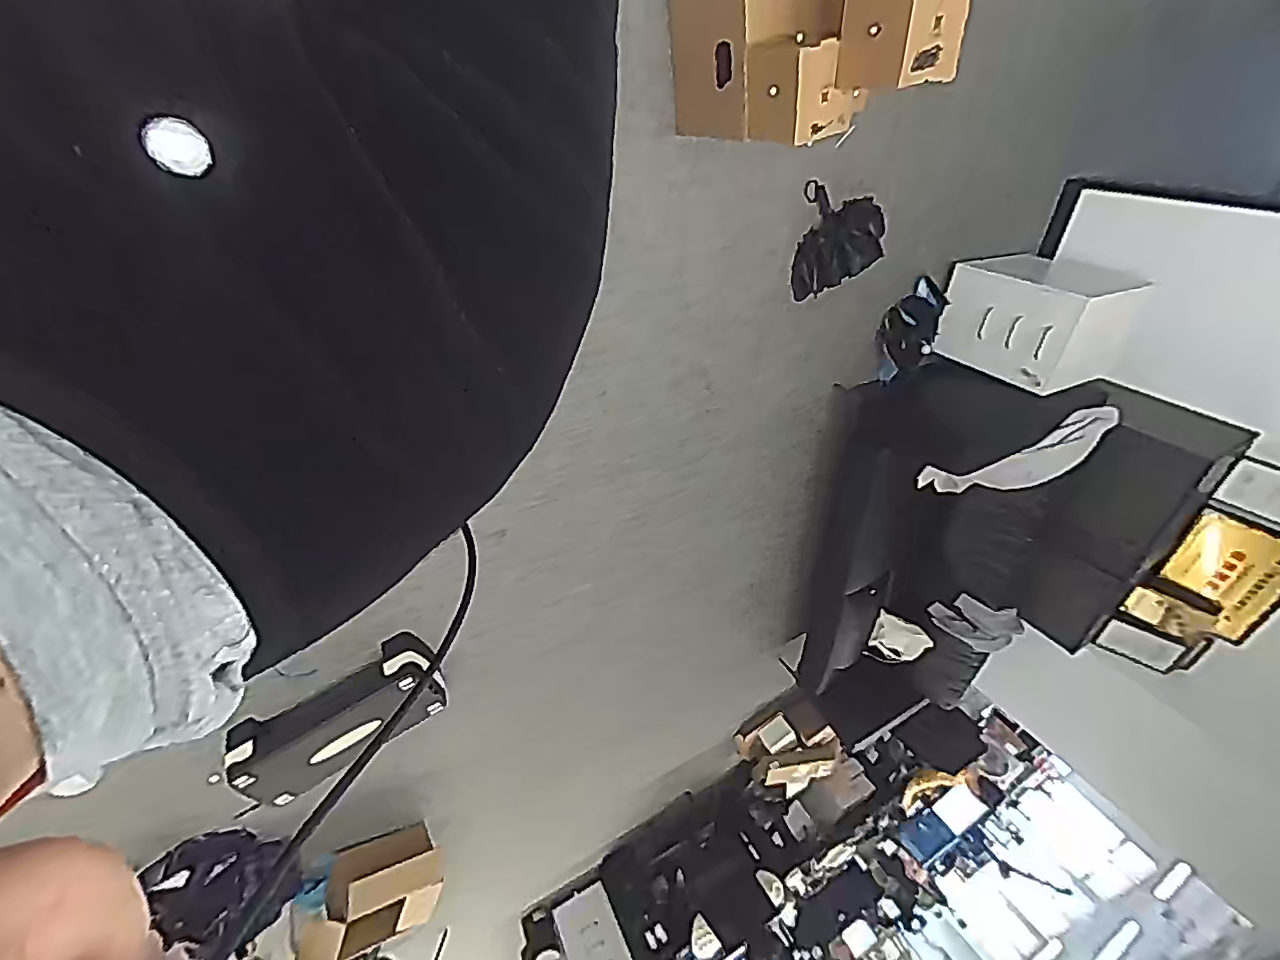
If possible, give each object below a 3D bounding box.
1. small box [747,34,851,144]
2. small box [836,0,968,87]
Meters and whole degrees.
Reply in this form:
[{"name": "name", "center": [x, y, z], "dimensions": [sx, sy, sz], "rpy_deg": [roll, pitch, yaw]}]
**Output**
[{"name": "small box", "center": [0.356, -0.885, 1.226], "dimensions": [0.168, 0.176, 0.179], "rpy_deg": [-27, 133, -16]}, {"name": "small box", "center": [0.521, -0.907, 1.091], "dimensions": [0.168, 0.176, 0.179], "rpy_deg": [-23, 129, -20]}]
